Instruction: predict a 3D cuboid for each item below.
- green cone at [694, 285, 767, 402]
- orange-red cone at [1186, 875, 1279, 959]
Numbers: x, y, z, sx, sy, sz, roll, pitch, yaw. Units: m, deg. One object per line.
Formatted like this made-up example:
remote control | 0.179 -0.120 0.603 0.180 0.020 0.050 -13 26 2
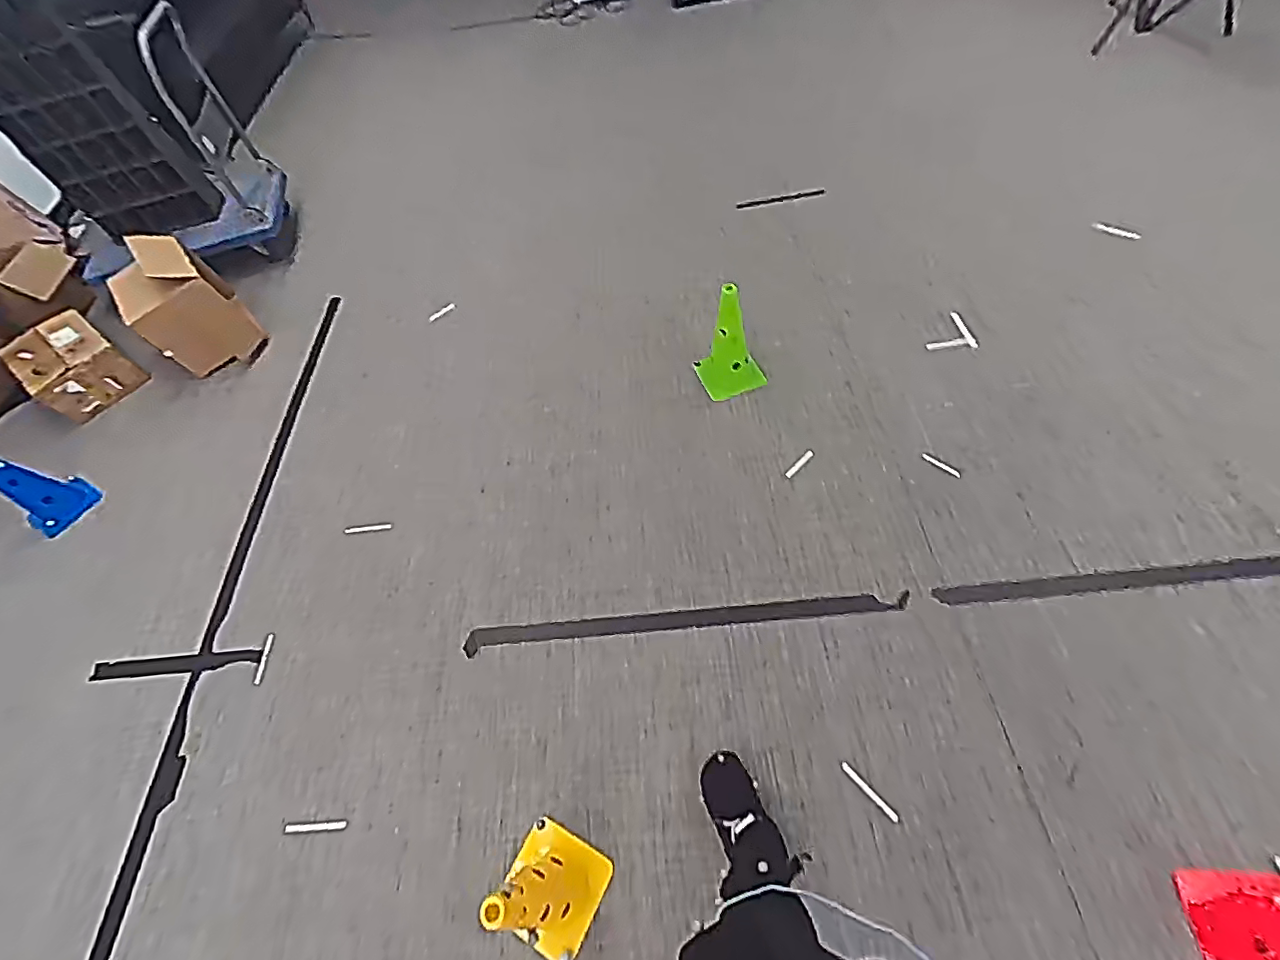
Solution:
green cone | 0.288 -0.453 1.716 0.202 0.368 0.200 -20 57 -5
orange-red cone | 1.083 0.730 0.810 0.199 0.360 0.198 -2 56 10
